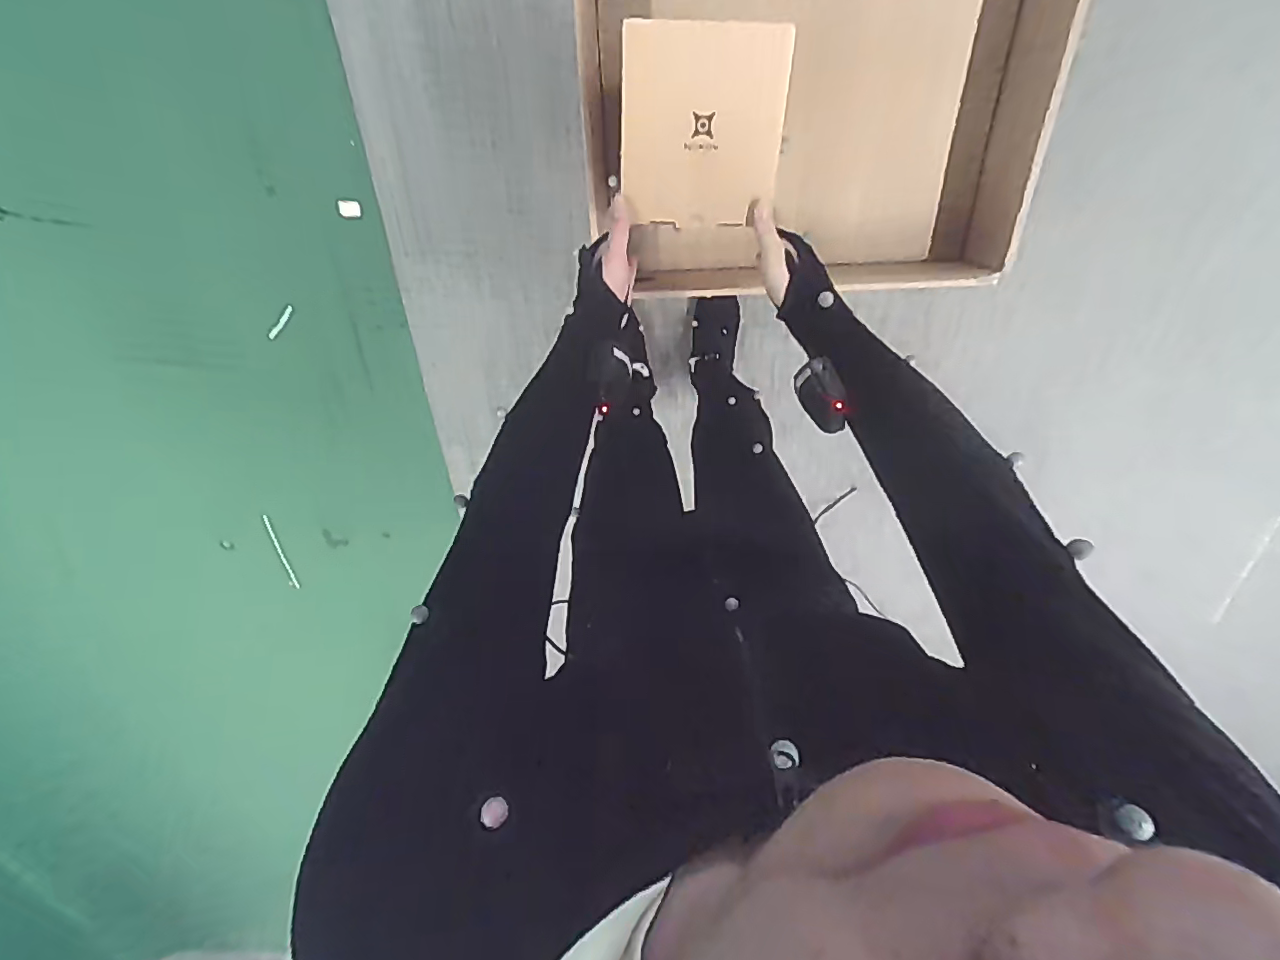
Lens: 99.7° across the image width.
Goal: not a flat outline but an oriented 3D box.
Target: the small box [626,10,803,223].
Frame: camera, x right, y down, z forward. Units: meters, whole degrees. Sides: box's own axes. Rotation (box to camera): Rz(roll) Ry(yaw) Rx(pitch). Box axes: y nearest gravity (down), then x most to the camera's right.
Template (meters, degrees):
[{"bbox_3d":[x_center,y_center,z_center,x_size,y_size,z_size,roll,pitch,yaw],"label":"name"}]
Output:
[{"bbox_3d":[0.068,-0.394,0.611,0.168,0.176,0.179,1,119,-1],"label":"small box"}]
